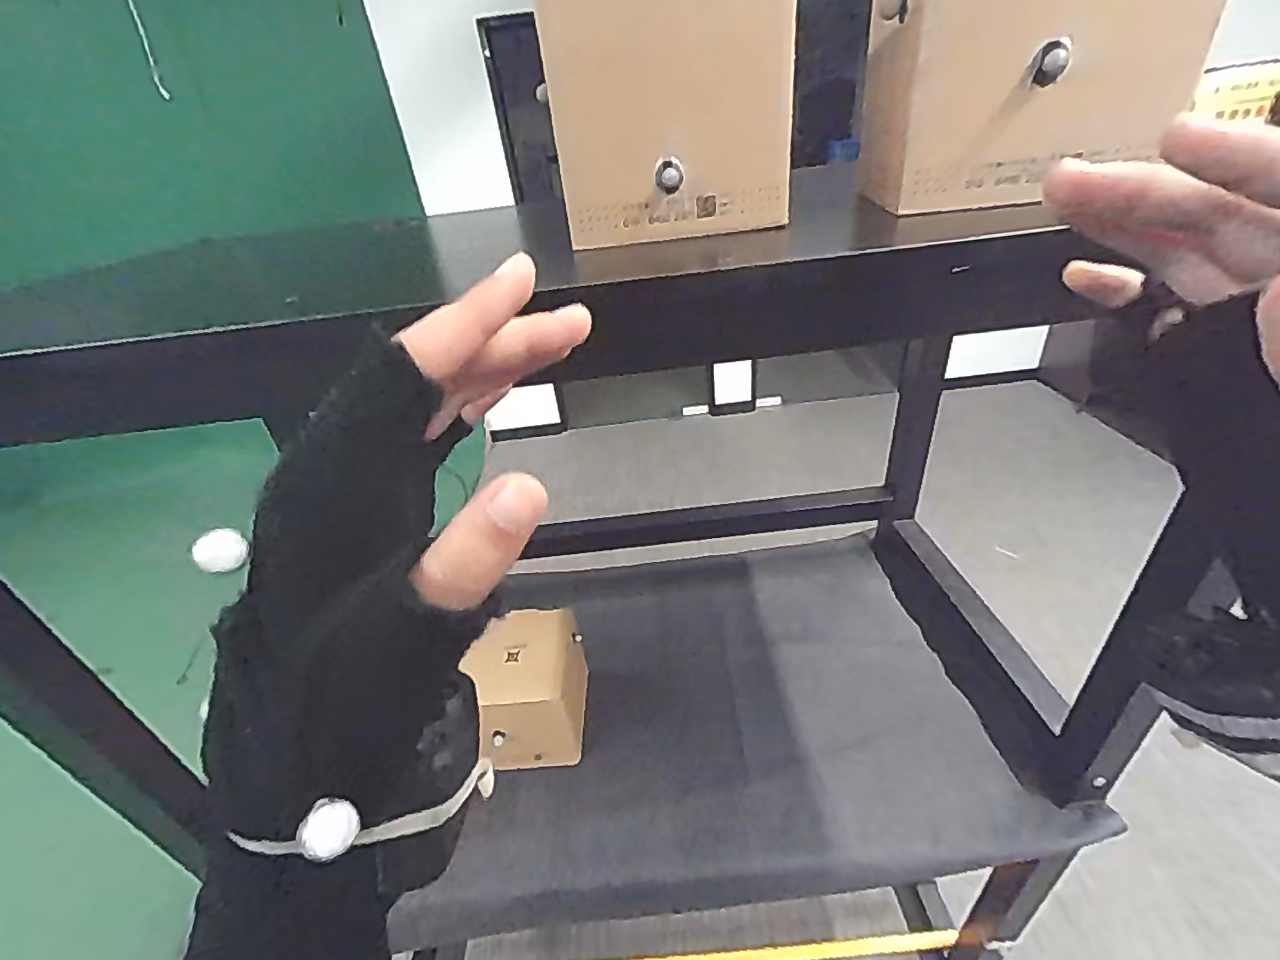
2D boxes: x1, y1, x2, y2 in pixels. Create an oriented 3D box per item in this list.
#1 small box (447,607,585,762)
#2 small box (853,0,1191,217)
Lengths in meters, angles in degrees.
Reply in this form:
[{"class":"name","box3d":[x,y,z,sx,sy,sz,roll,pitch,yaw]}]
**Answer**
[{"class":"small box","box3d":[-0.186,0.332,0.874,0.168,0.176,0.179,-5,32,2]},{"class":"small box","box3d":[0.268,-0.304,0.413,0.168,0.176,0.179,0,32,11]}]
